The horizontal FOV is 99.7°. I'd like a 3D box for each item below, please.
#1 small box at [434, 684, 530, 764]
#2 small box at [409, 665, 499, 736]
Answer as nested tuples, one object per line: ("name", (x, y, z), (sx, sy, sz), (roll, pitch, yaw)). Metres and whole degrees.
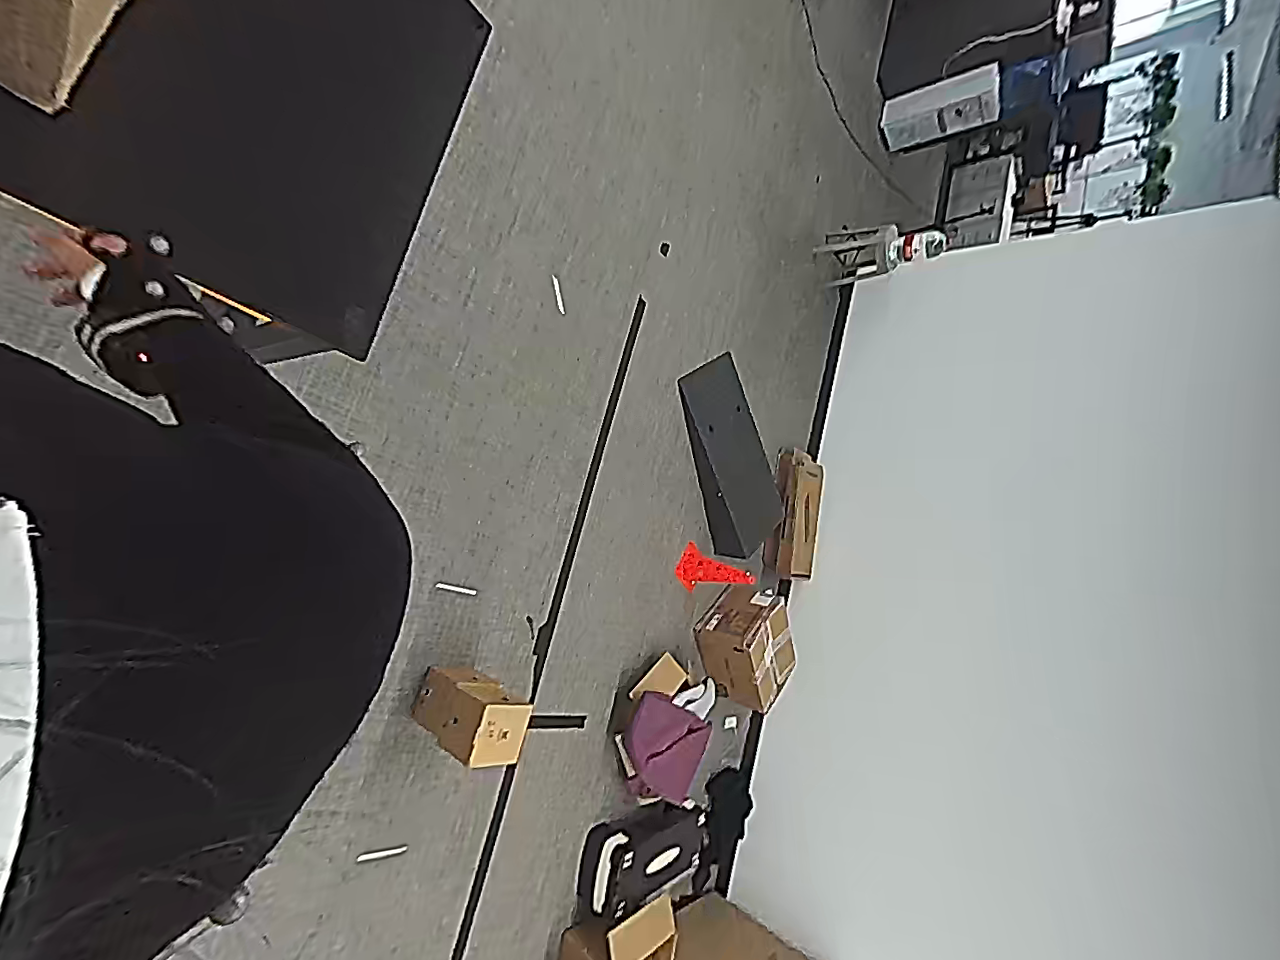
("small box", (-0.457, 0.700, 1.564), (0.179, 0.176, 0.168), (29, 72, -48))
("small box", (-0.576, 0.682, 1.677), (0.179, 0.176, 0.168), (28, 73, -47))
